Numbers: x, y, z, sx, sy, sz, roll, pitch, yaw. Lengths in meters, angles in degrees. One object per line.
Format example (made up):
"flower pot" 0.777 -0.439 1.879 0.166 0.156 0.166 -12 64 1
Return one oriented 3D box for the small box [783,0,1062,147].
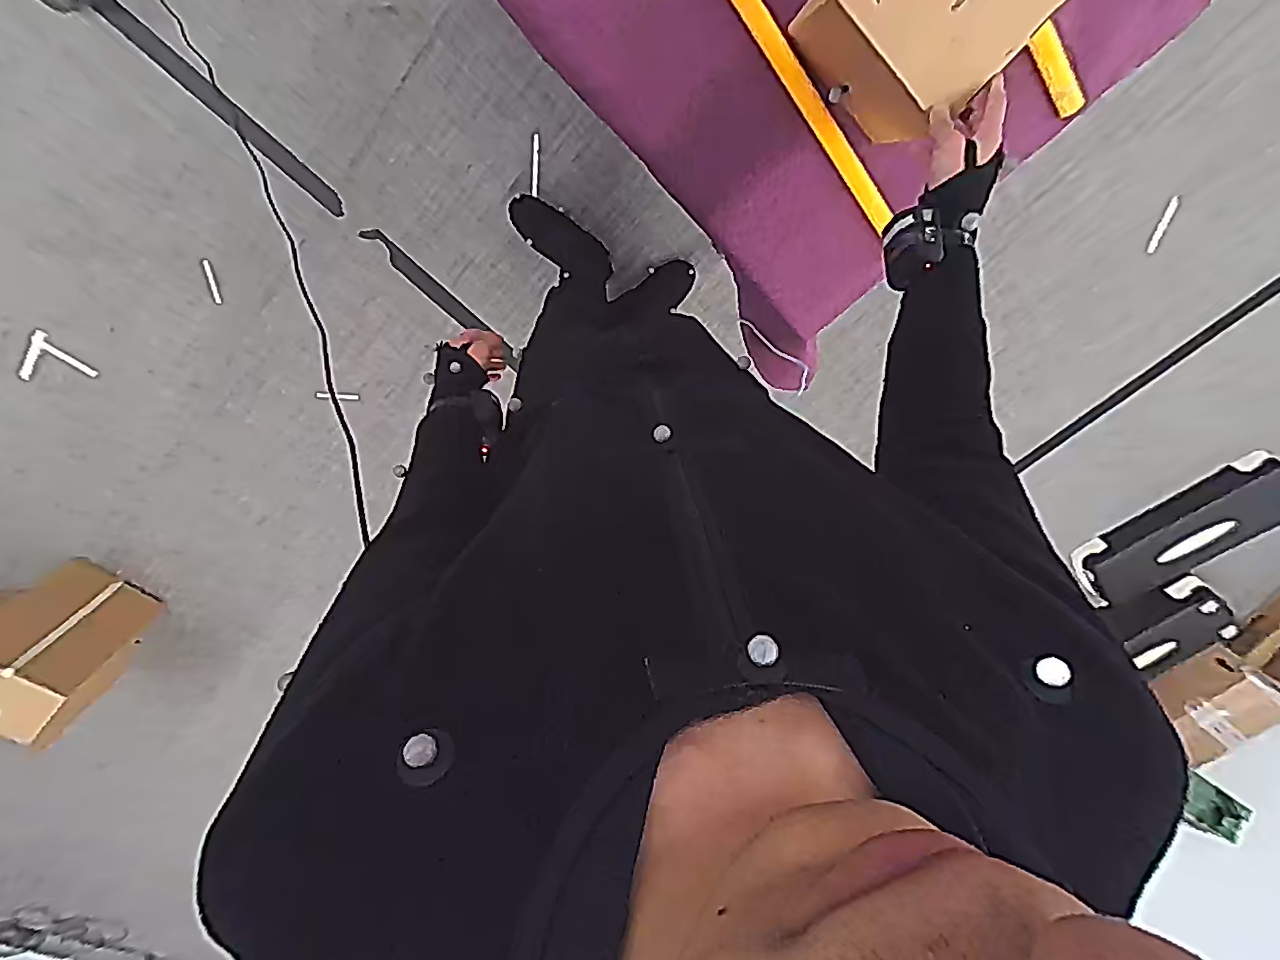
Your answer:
"small box" 0.285 -0.495 0.581 0.179 0.176 0.168 36 113 -21
